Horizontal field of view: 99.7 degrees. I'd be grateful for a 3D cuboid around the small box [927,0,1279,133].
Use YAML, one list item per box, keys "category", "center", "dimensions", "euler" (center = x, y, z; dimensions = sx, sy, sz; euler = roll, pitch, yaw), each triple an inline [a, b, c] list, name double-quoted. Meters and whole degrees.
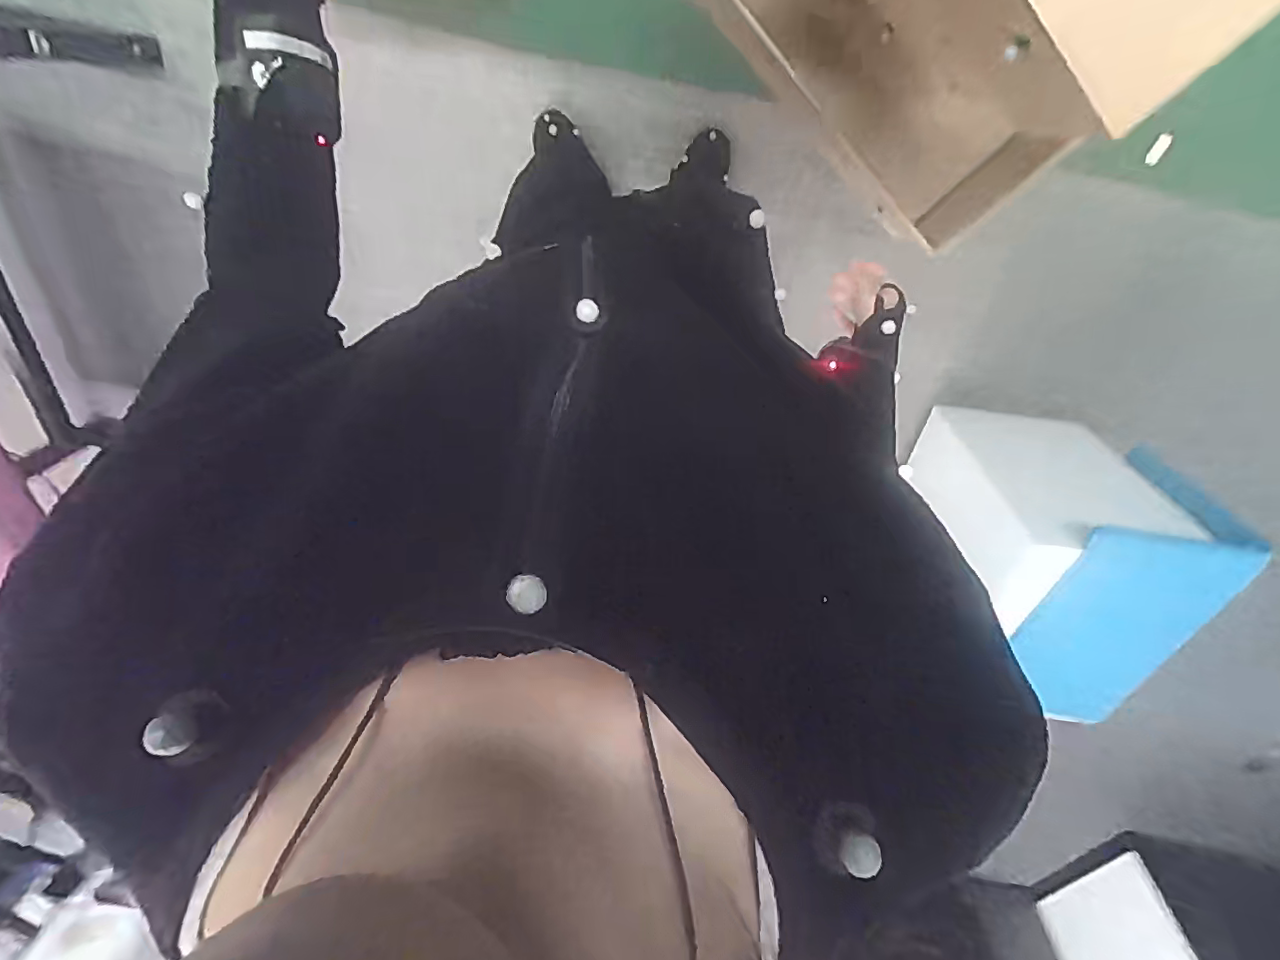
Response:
- category: "small box"
  center: [0.343, -0.387, 0.393]
  dimensions: [0.179, 0.176, 0.168]
  euler: [40, 120, -17]
